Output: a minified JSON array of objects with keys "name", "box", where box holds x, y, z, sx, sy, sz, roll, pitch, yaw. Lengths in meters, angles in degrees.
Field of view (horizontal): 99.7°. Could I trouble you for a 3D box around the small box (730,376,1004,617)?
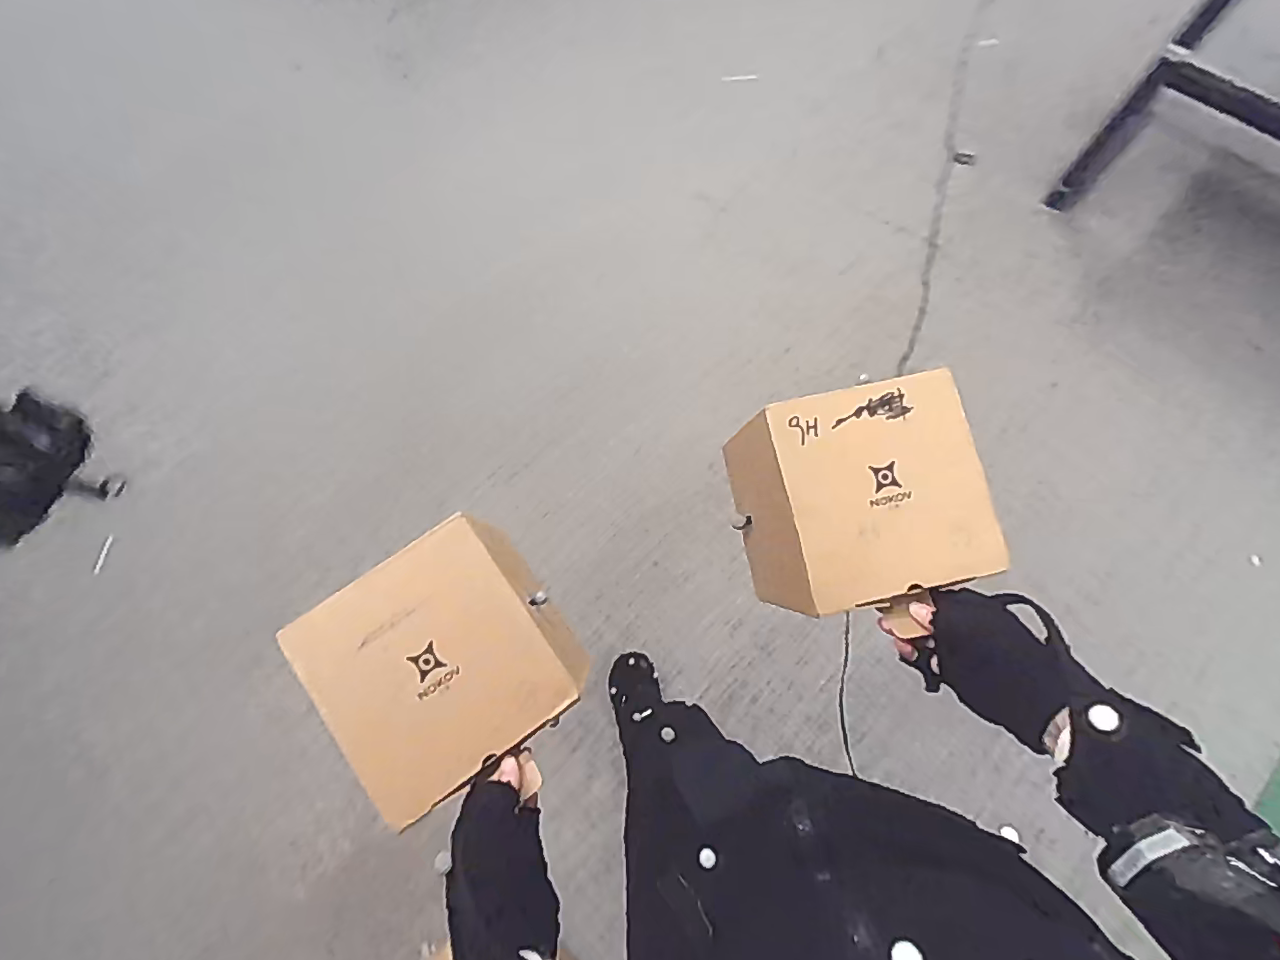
[{"name":"small box","box":[0.197,0.019,0.522,0.168,0.176,0.179,-12,84,-4]}]
